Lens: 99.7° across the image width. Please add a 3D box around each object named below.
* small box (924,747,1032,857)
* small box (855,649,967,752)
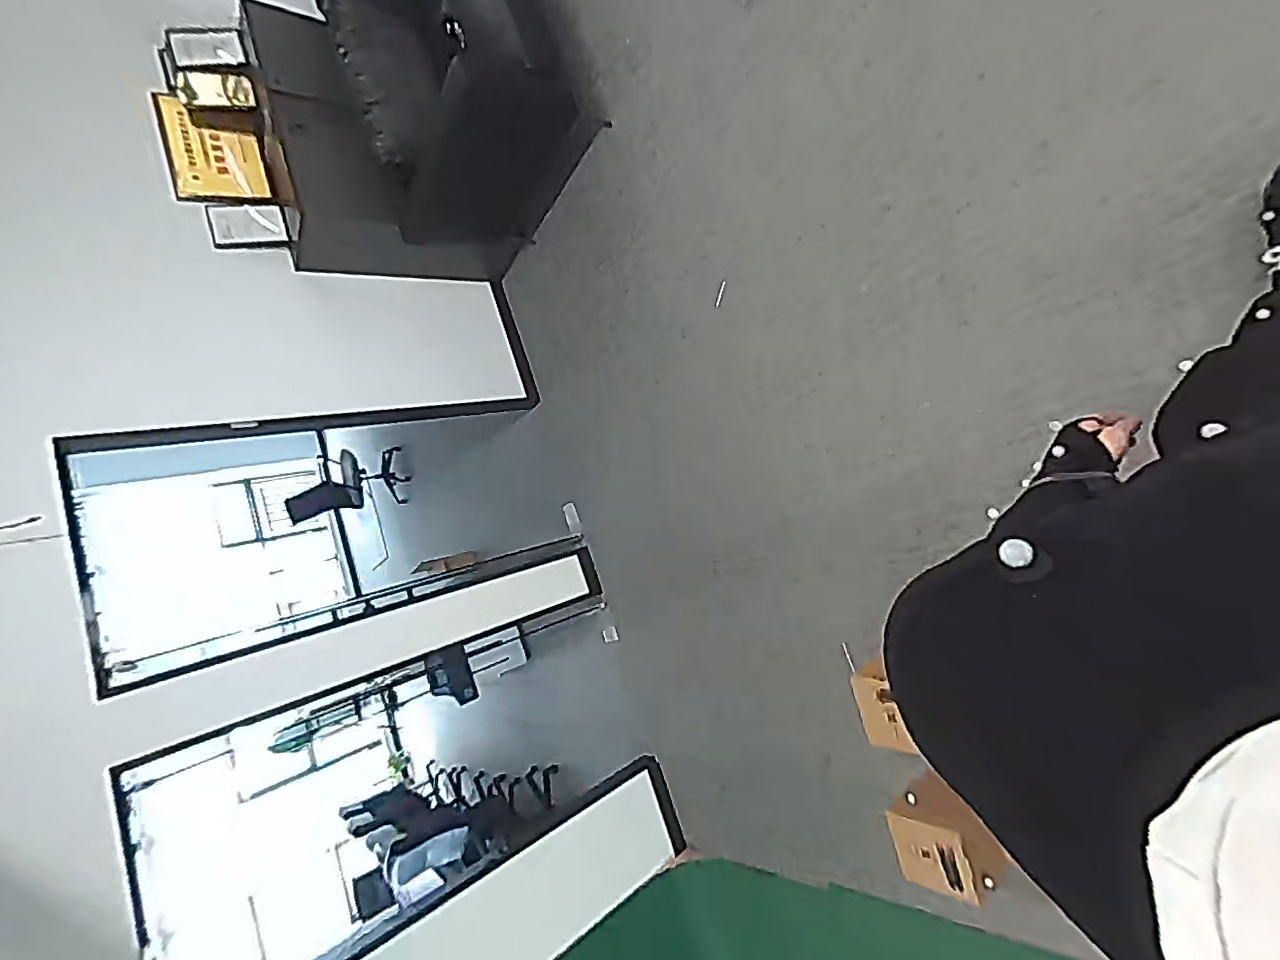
[{"bbox_3d":[0.876,0.816,1.392,0.179,0.176,0.168,-20,83,53],"label":"small box"},{"bbox_3d":[0.661,0.524,1.318,0.168,0.176,0.179,-18,86,52],"label":"small box"}]
